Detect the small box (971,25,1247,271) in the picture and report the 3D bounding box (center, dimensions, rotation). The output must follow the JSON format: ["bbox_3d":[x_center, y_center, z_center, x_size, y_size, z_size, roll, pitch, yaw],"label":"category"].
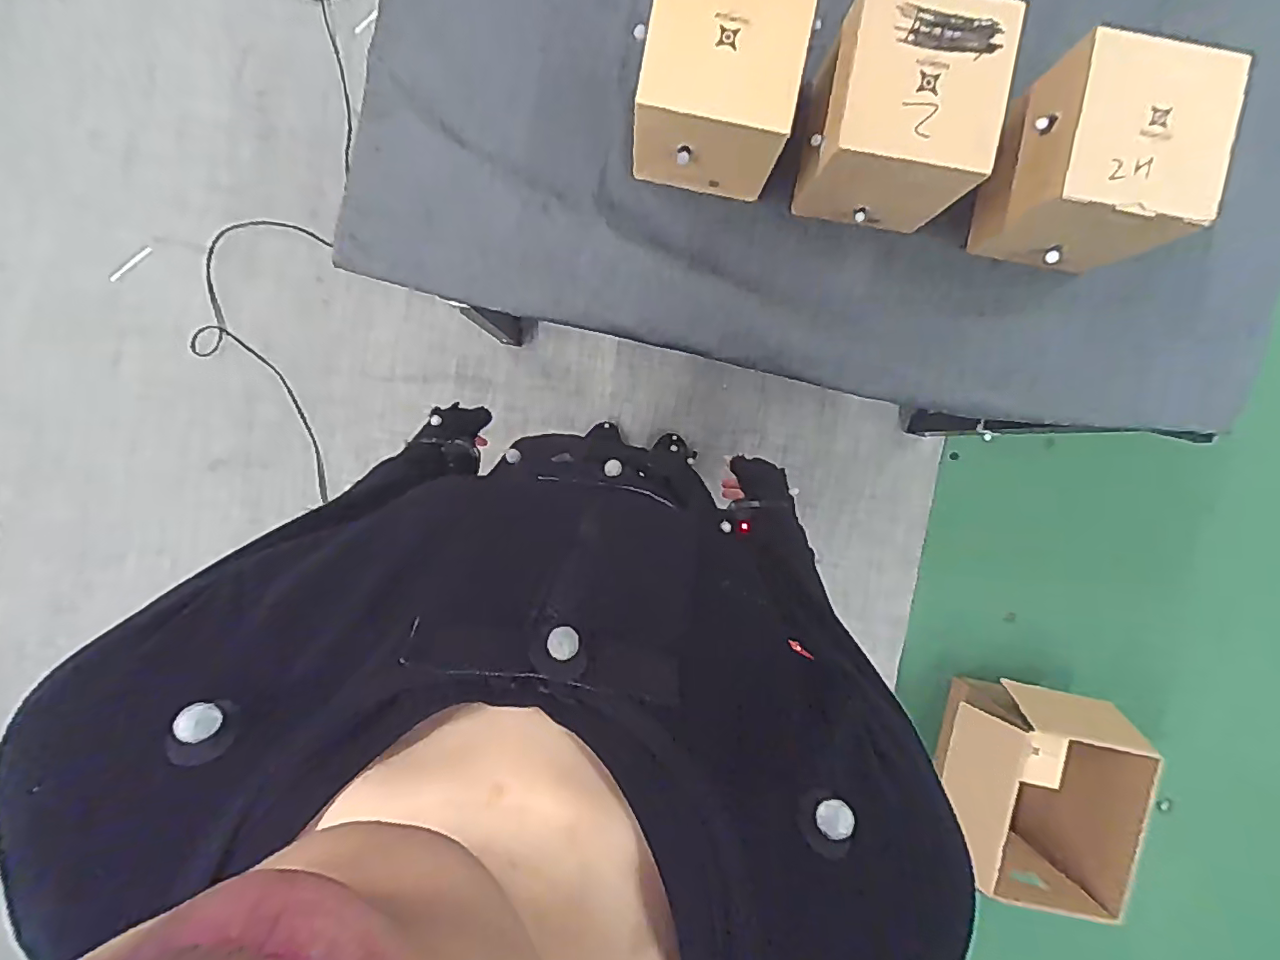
[{"bbox_3d":[0.531,-0.373,0.640,0.168,0.176,0.179,10,94,0],"label":"small box"}]
